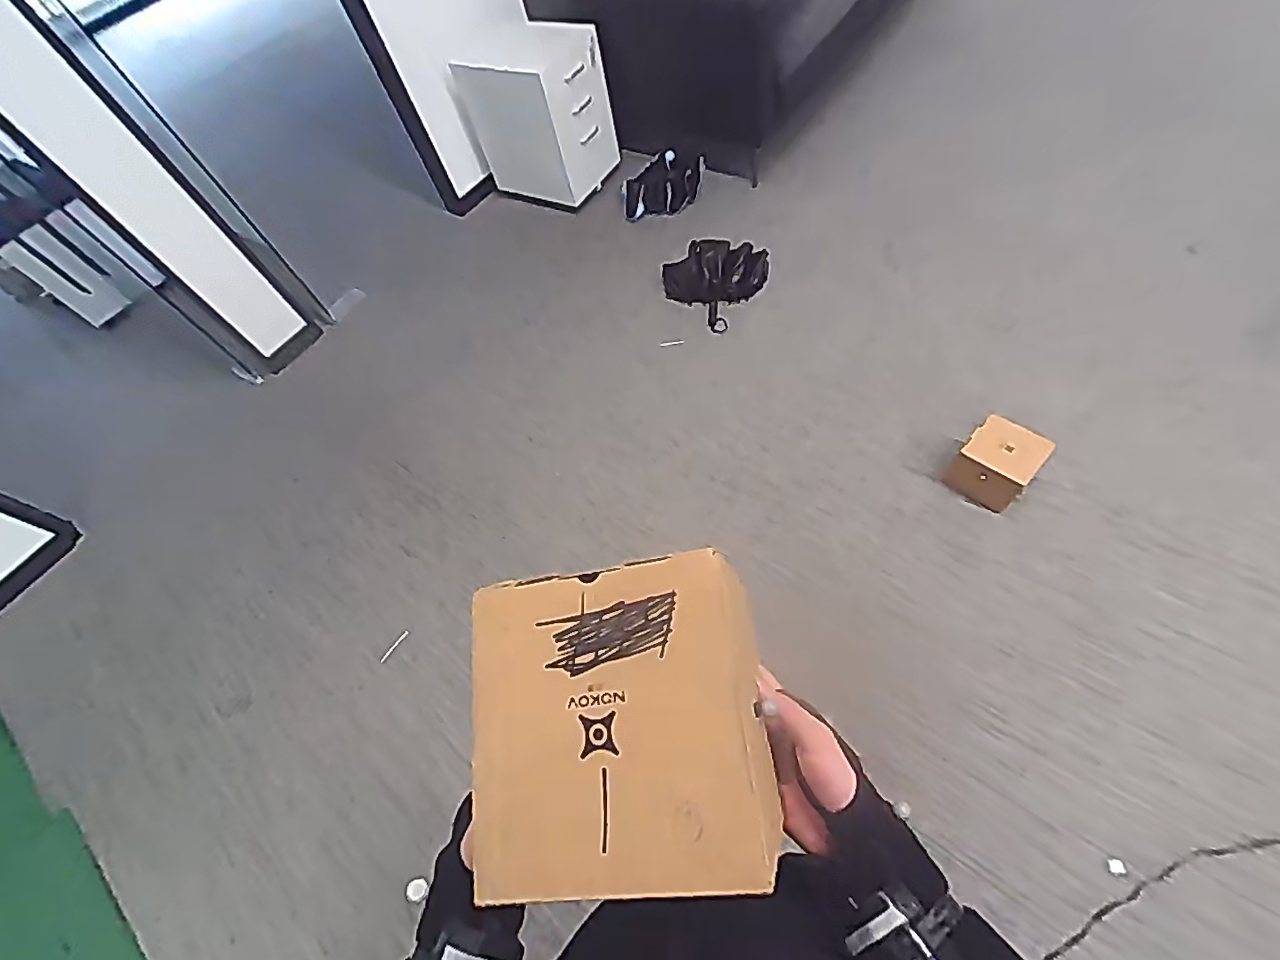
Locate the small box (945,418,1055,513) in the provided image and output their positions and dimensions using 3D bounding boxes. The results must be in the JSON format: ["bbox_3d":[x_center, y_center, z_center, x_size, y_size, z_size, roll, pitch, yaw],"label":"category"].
[{"bbox_3d":[0.996,-0.035,1.515,0.179,0.176,0.168,38,74,27],"label":"small box"}]

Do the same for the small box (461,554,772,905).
[{"bbox_3d":[-0.006,0.165,0.383,0.168,0.176,0.179,-12,68,13],"label":"small box"}]
